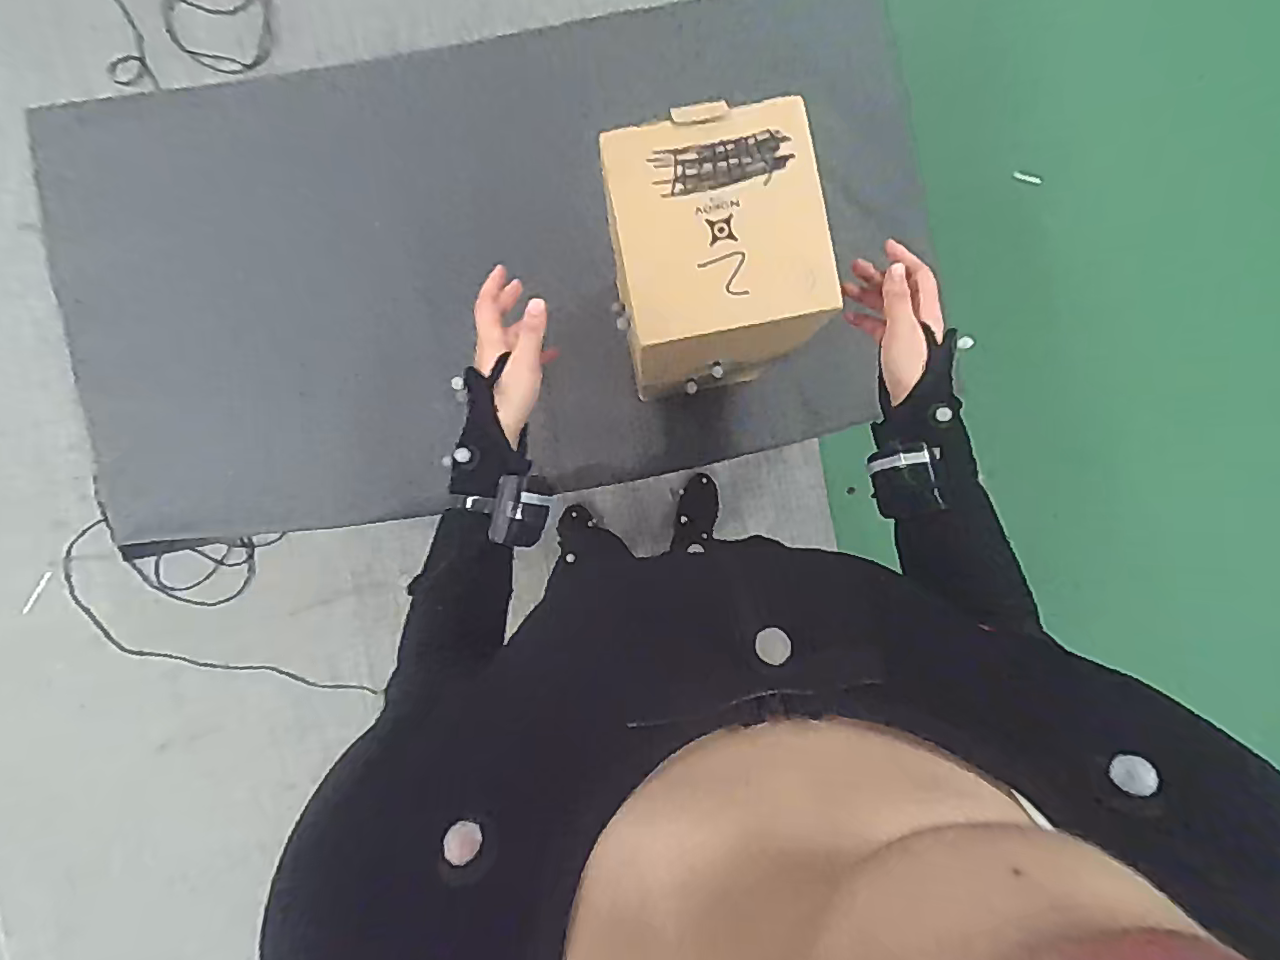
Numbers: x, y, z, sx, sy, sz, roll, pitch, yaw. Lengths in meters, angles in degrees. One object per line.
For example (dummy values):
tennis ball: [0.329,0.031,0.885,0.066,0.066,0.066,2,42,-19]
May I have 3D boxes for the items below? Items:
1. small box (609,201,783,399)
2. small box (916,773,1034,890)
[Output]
small box: [0.063,-0.203,0.664,0.168,0.176,0.179,-11,89,1]
small box: [0.861,0.901,1.404,0.179,0.176,0.168,-20,91,0]
